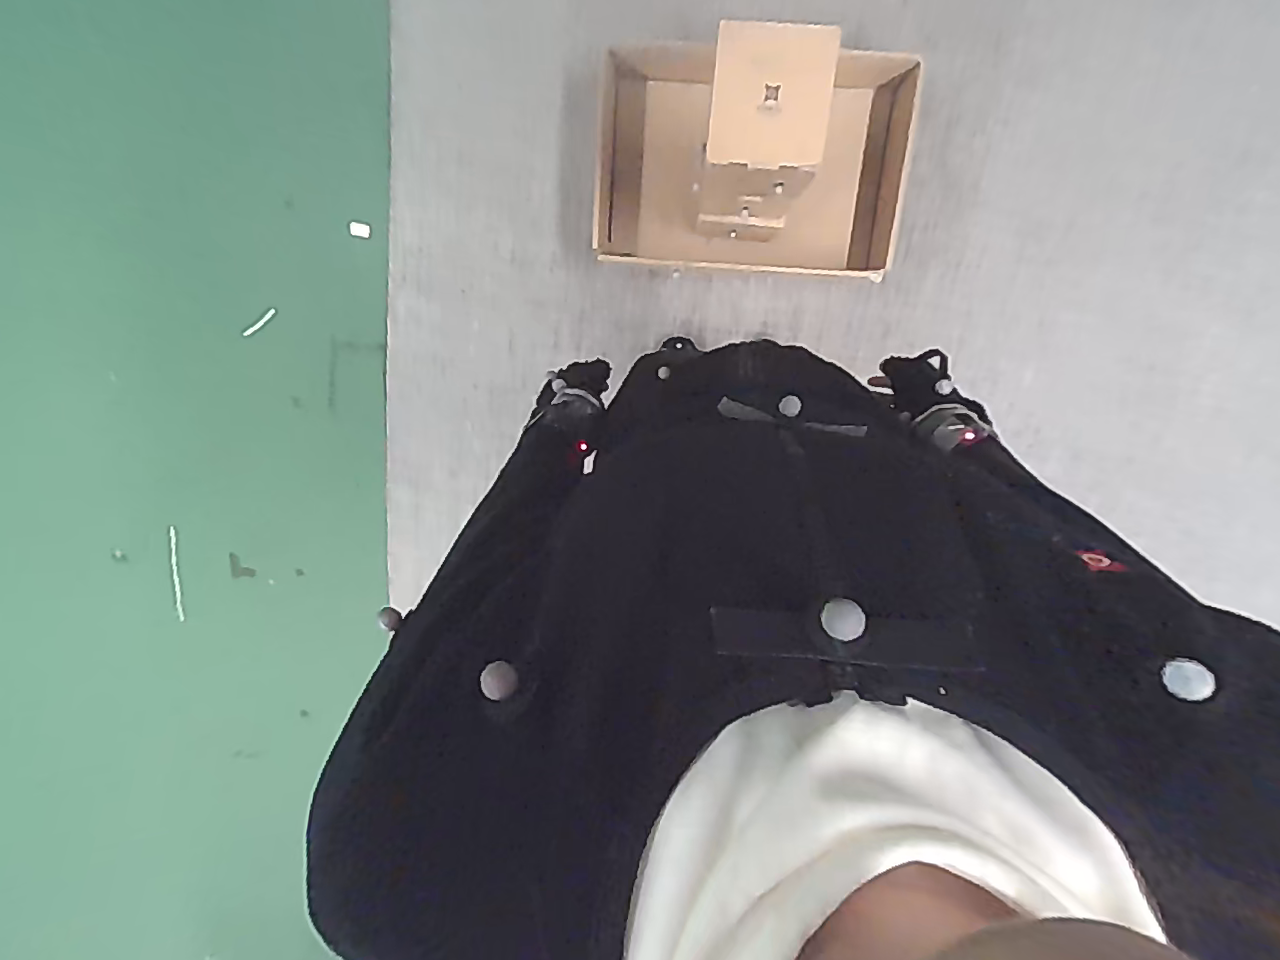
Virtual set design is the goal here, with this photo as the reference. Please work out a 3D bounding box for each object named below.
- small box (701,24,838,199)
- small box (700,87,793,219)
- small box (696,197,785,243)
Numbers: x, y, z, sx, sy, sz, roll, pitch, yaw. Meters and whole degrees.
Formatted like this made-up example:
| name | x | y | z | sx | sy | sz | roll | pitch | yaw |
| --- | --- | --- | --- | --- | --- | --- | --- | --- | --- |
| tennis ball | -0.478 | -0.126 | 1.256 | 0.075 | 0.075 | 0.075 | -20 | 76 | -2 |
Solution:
| name | x | y | z | sx | sy | sz | roll | pitch | yaw |
| --- | --- | --- | --- | --- | --- | --- | --- | --- | --- |
| small box | 0.185 | -0.548 | 0.830 | 0.168 | 0.176 | 0.179 | 6 | 104 | 2 |
| small box | 0.201 | -0.595 | 1.005 | 0.168 | 0.176 | 0.179 | 4 | 104 | 5 |
| small box | 0.219 | -0.618 | 1.163 | 0.179 | 0.176 | 0.168 | 9 | 104 | 4 |
